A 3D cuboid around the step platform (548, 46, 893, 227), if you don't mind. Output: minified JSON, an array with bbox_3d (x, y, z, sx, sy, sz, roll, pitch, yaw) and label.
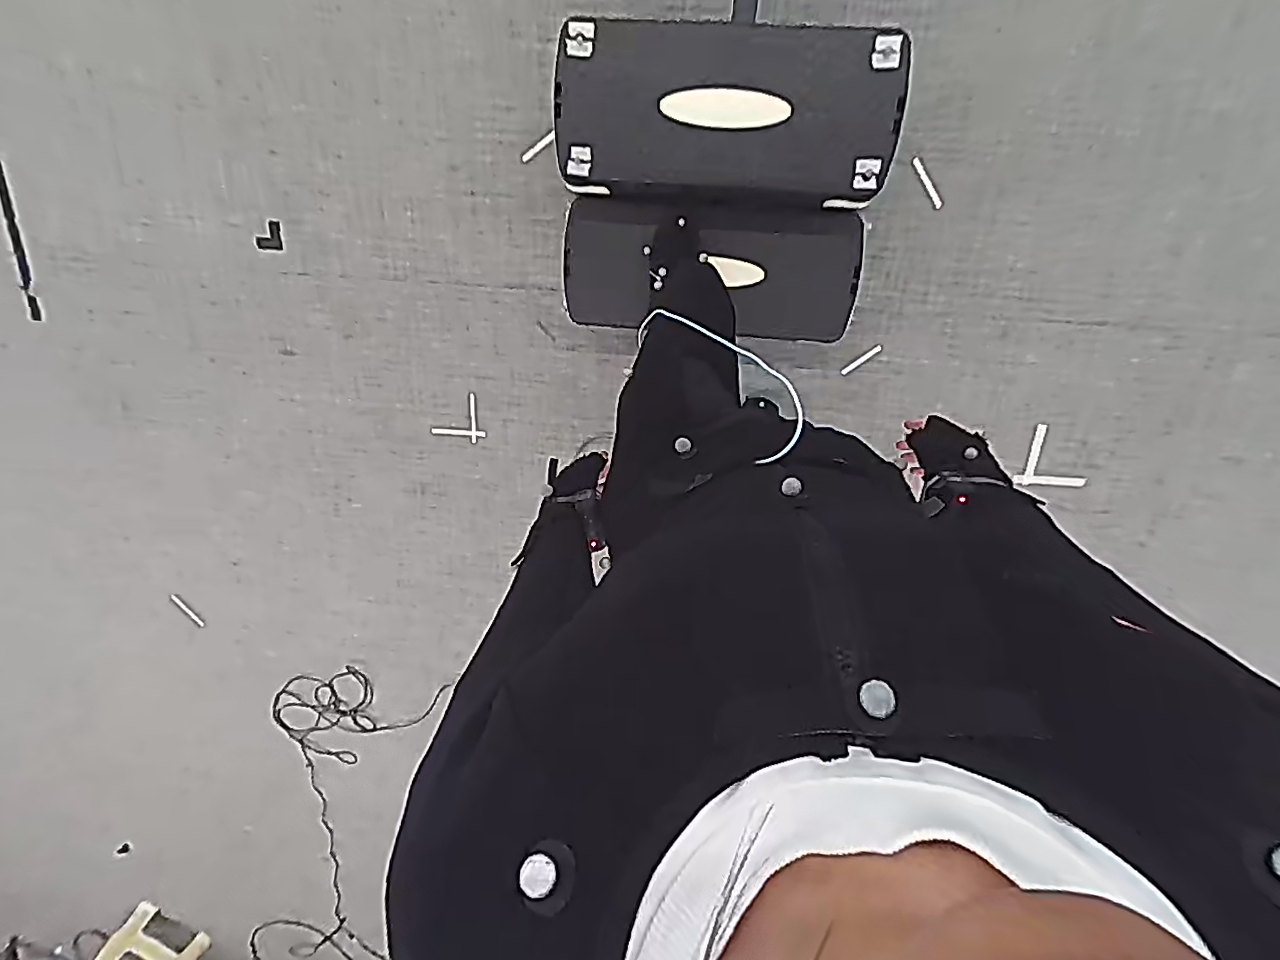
[{"bbox_3d":[0.152,-0.707,1.134,0.684,0.204,0.286,4,110,3],"label":"step platform"}]
